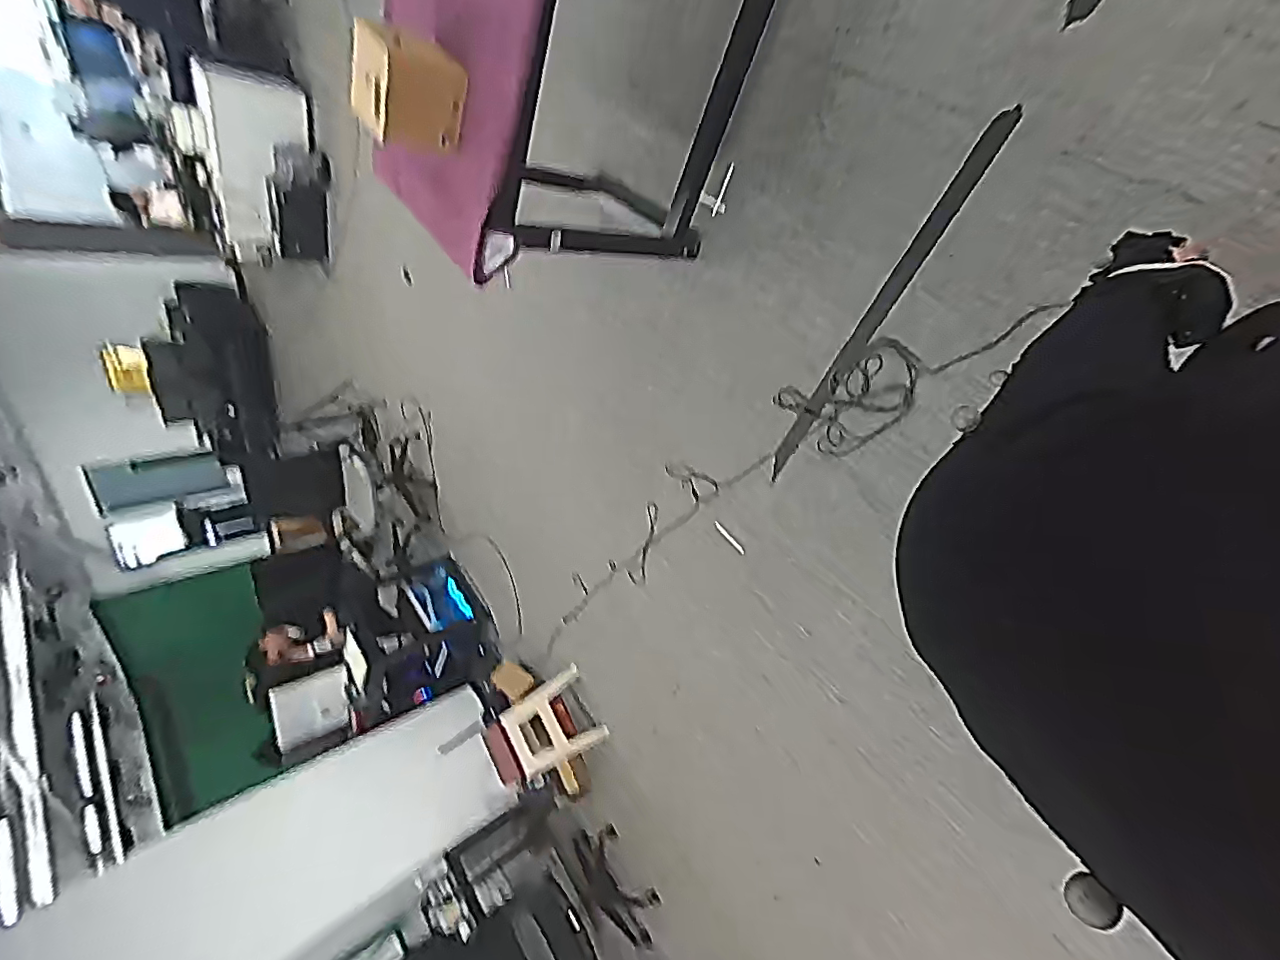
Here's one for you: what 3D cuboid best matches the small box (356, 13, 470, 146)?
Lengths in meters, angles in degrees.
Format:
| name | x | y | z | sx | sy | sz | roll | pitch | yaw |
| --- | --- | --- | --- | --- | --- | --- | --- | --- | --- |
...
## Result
| name | x | y | z | sx | sy | sz | roll | pitch | yaw |
| --- | --- | --- | --- | --- | --- | --- | --- | --- | --- |
| small box | -0.486 | -0.845 | 1.158 | 0.179 | 0.176 | 0.168 | 52 | 135 | 22 |
